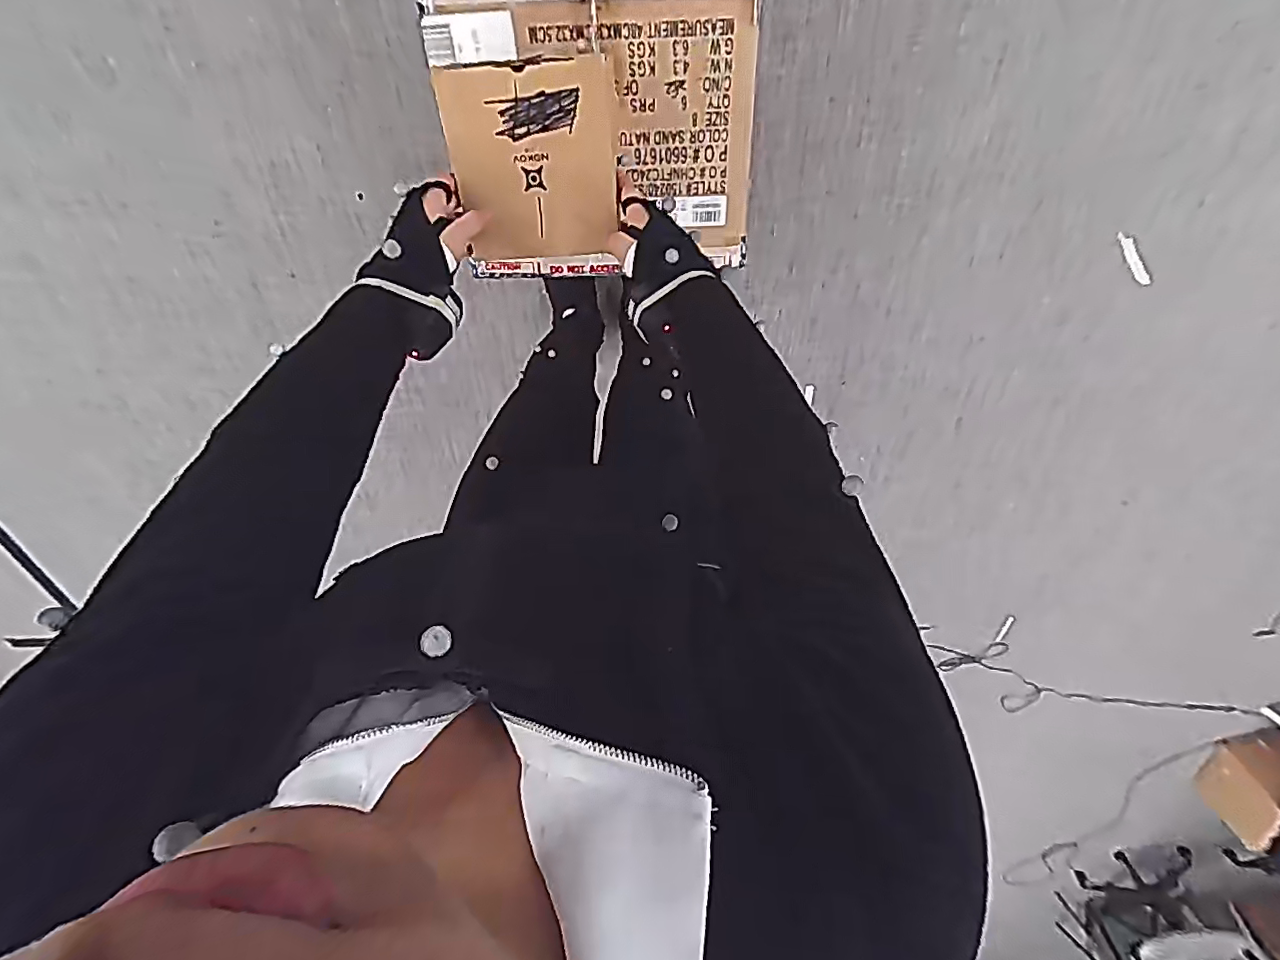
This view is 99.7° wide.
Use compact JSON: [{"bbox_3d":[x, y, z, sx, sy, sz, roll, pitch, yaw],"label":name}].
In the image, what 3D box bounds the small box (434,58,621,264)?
[{"bbox_3d":[-0.108,-0.361,0.608,0.168,0.176,0.179,-2,129,1],"label":"small box"}]
